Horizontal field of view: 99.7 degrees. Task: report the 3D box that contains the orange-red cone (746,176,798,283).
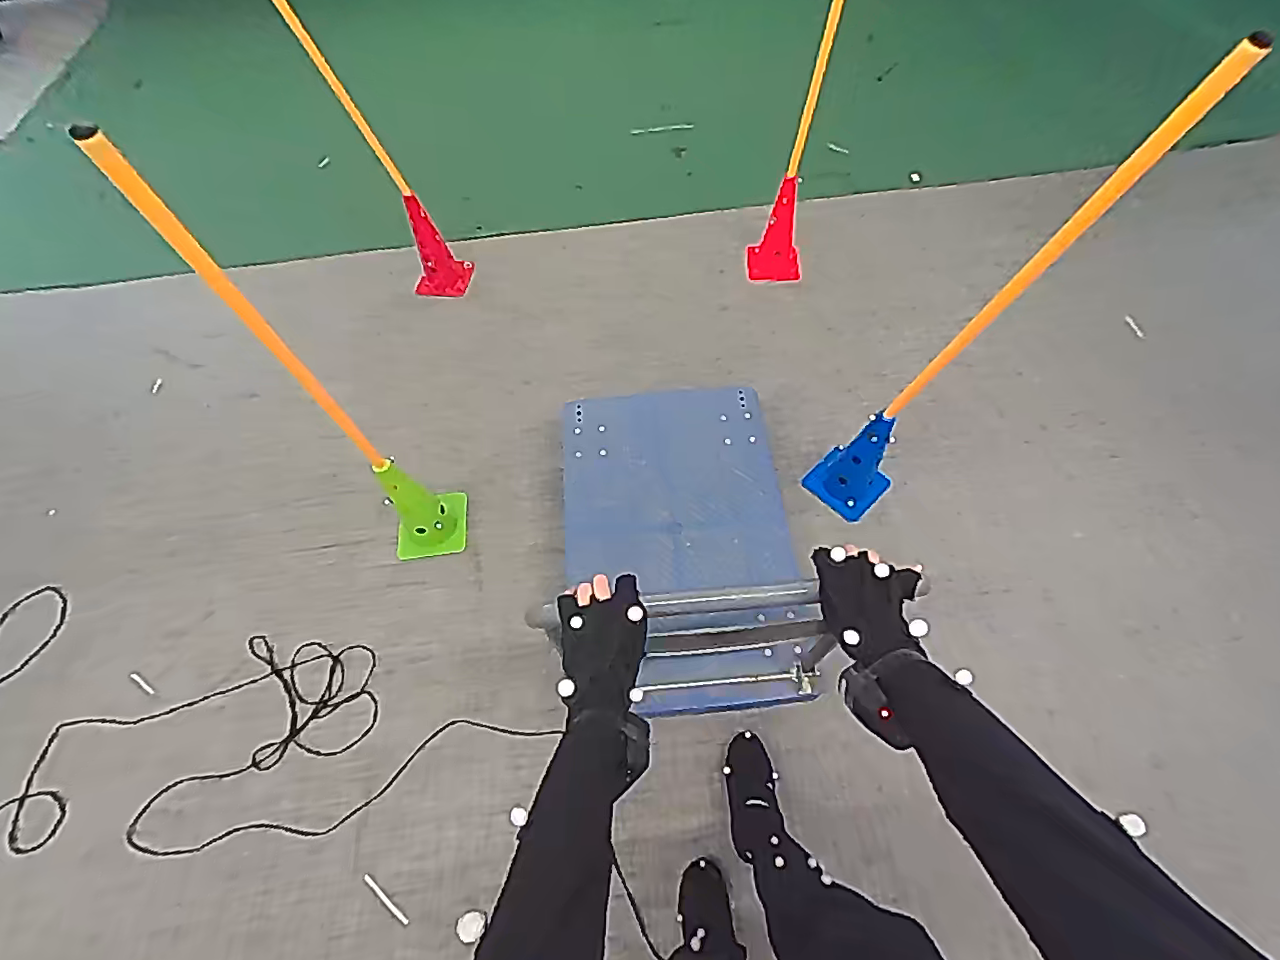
[{"bbox_3d":[0.506,-0.920,1.964,0.198,0.360,0.199,2,62,5],"label":"orange-red cone"}]
